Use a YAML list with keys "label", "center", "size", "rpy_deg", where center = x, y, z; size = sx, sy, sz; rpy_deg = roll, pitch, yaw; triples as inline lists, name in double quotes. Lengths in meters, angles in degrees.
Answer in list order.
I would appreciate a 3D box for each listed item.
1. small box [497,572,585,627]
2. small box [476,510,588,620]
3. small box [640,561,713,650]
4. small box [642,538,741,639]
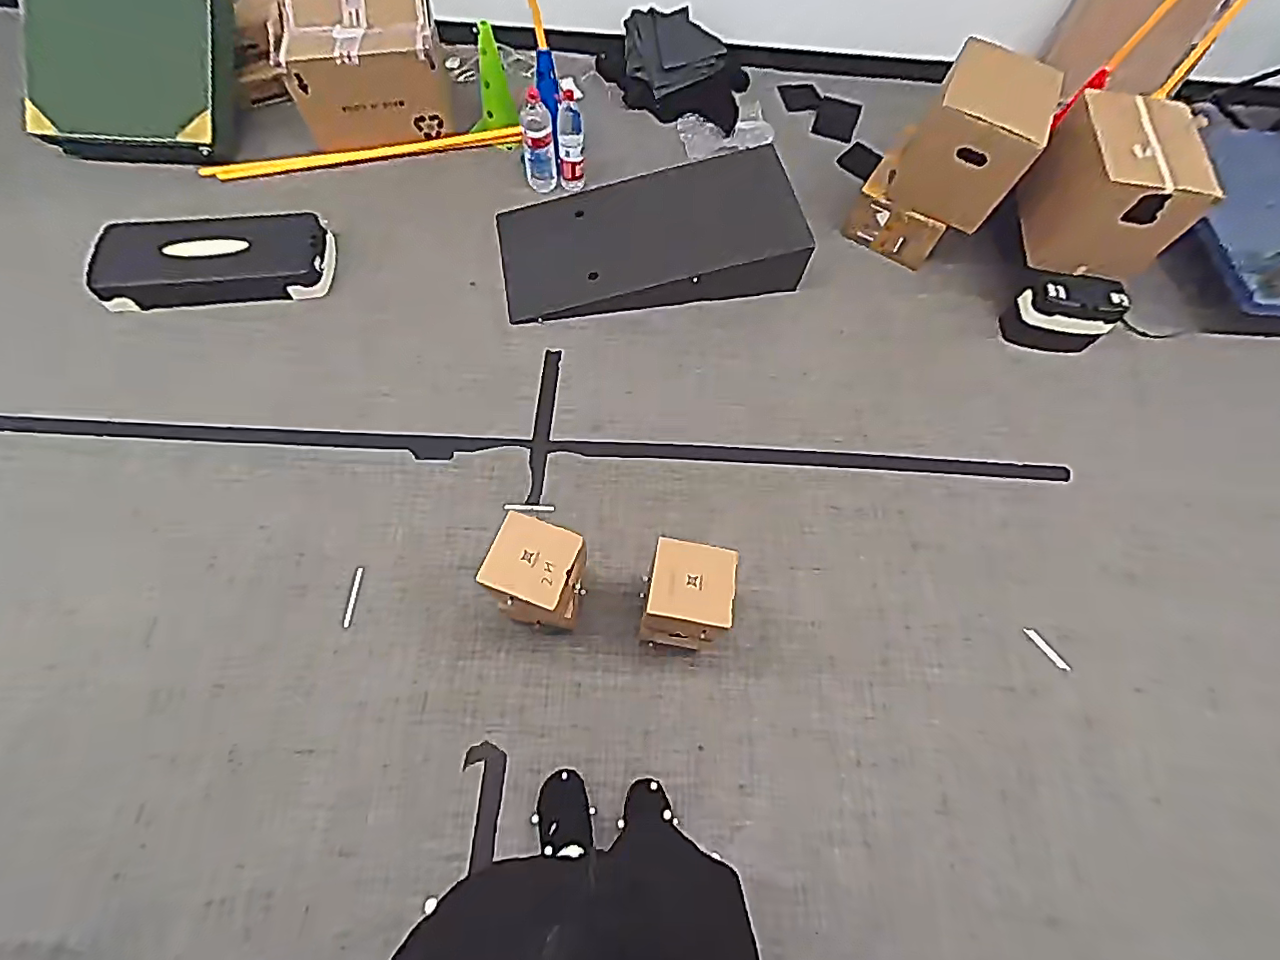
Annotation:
- label: "small box"
  center: [-0.234, 0.260, 1.327]
  size: [0.179, 0.176, 0.168]
  rpy_deg: [9, 66, -1]
- label: "small box"
  center: [-0.224, 0.191, 1.177]
  size: [0.179, 0.176, 0.168]
  rpy_deg: [20, 68, 5]
- label: "small box"
  center: [0.094, 0.312, 1.328]
  size: [0.168, 0.176, 0.179]
  rpy_deg: [10, 65, 0]
- label: "small box"
  center: [0.107, 0.243, 1.181]
  size: [0.179, 0.176, 0.168]
  rpy_deg: [11, 65, 1]
